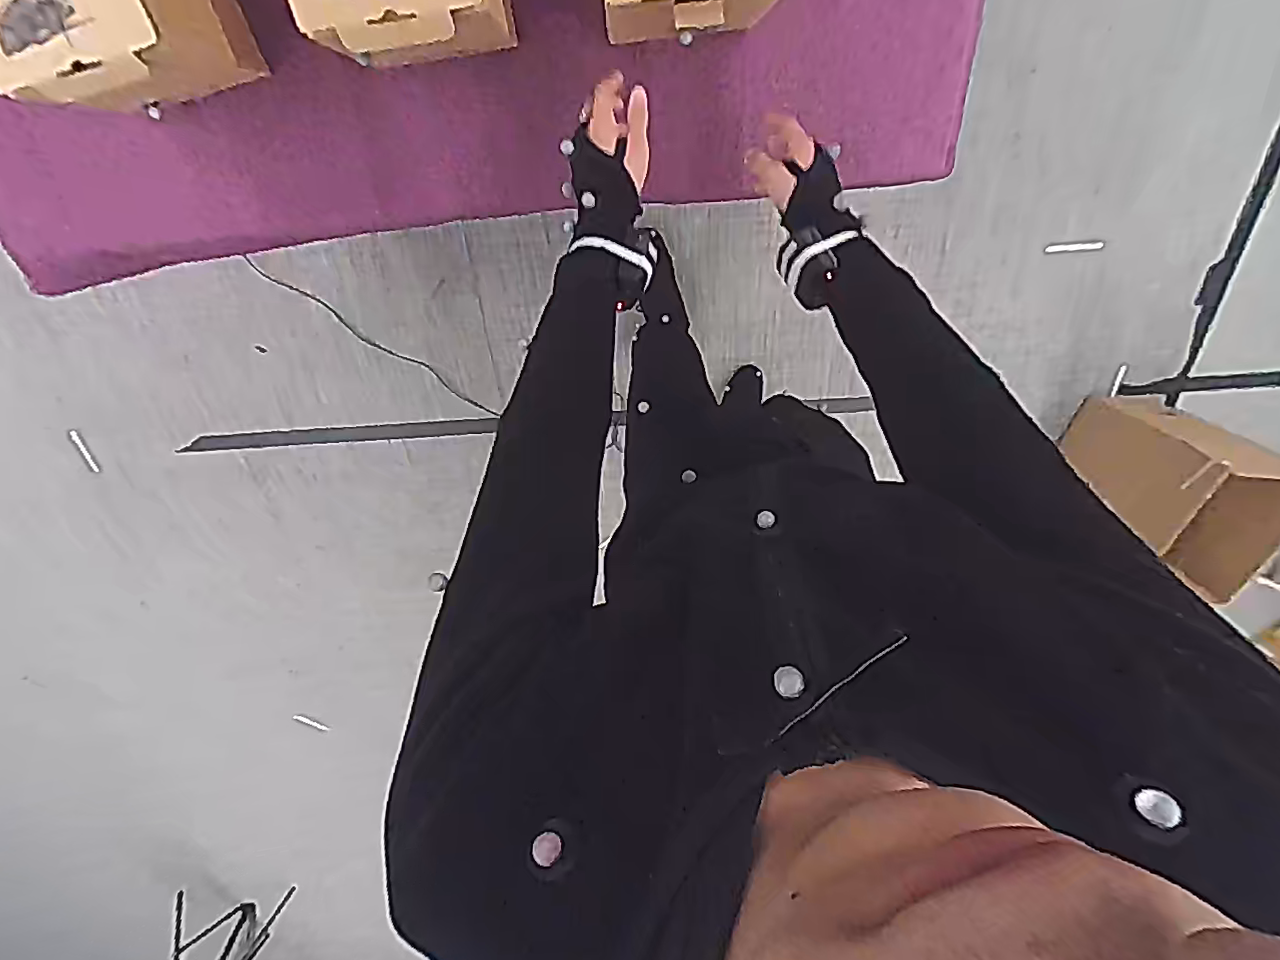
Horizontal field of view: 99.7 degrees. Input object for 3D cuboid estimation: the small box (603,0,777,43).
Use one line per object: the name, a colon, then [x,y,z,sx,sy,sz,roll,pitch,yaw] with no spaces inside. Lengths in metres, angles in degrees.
small box: [0.041,-0.532,0.492,0.168,0.176,0.179,-5,120,1]

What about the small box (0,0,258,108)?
small box: [-0.513,-0.469,0.504,0.168,0.176,0.179,-13,119,4]
